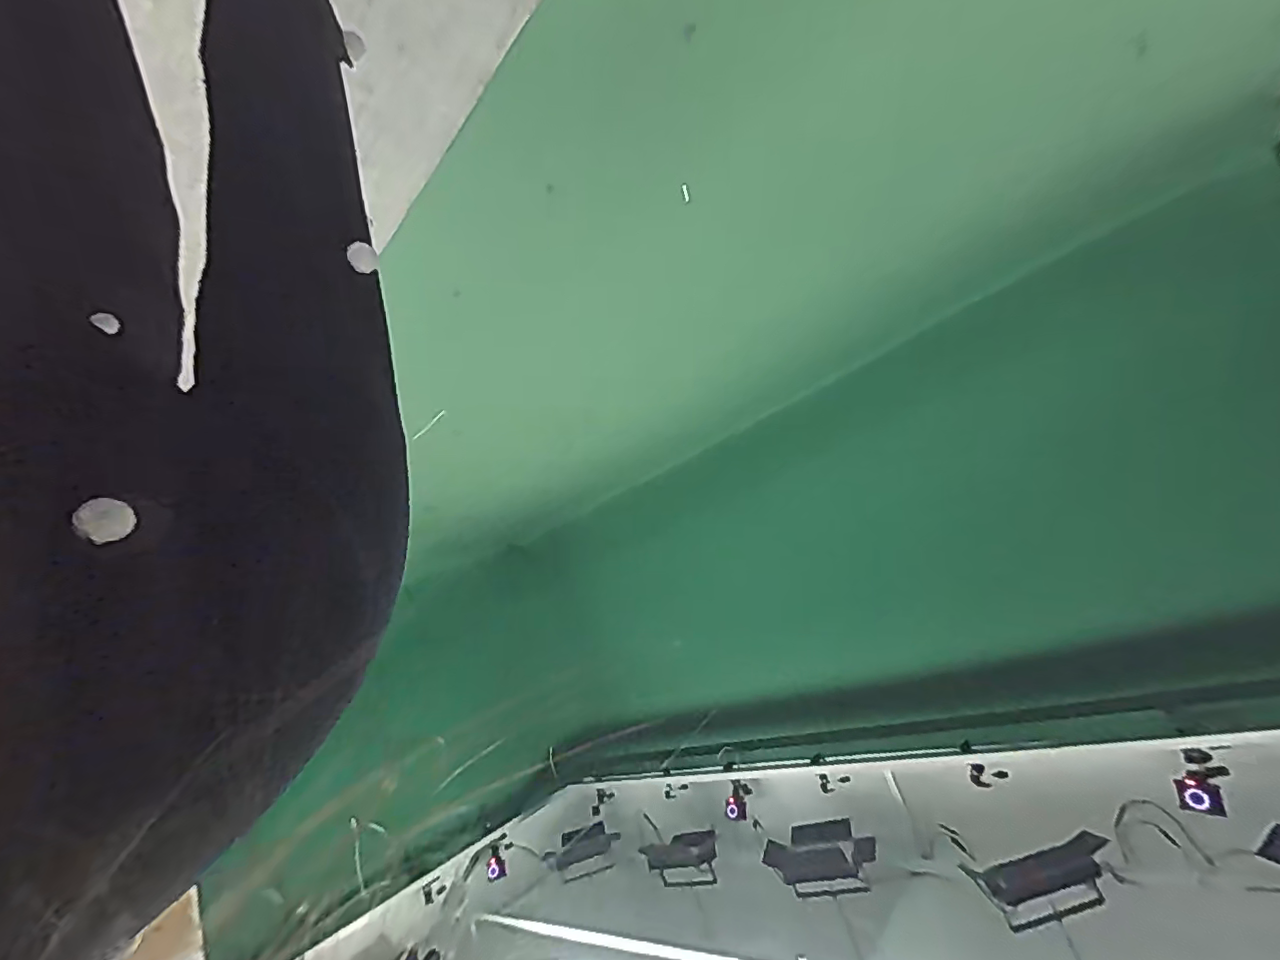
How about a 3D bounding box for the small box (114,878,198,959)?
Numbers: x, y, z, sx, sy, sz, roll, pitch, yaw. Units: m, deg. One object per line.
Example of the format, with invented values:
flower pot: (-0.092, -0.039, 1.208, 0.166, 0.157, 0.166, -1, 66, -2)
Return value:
small box: (-1.385, 1.280, 1.547, 0.168, 0.176, 0.179, -4, 161, -42)
